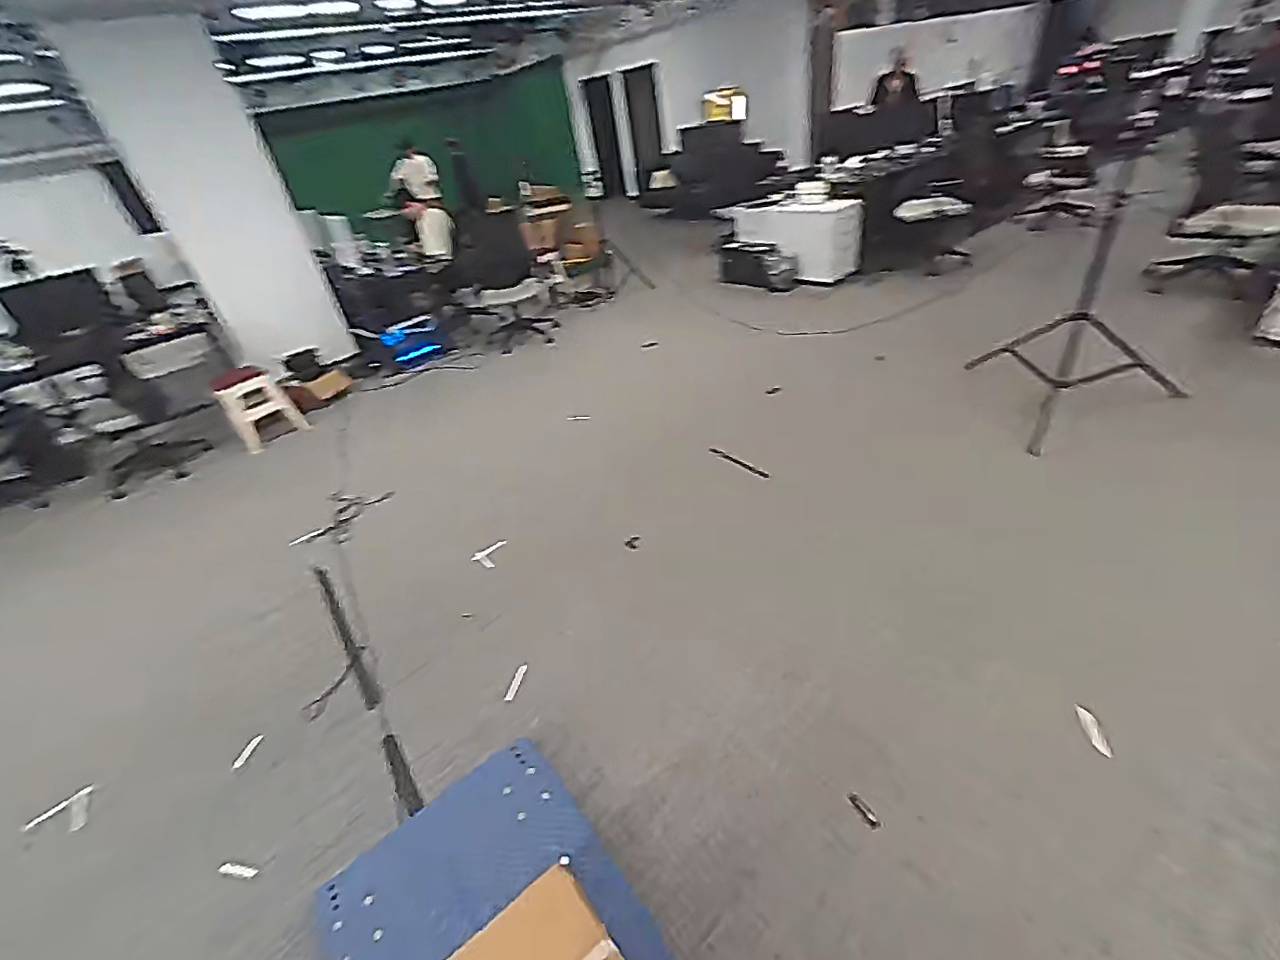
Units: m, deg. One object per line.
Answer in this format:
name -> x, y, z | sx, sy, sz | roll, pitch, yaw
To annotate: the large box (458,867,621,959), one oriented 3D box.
large box -> -0.175, 0.946, 0.841 | 0.408, 0.320, 0.320 | -29, 39, -26
